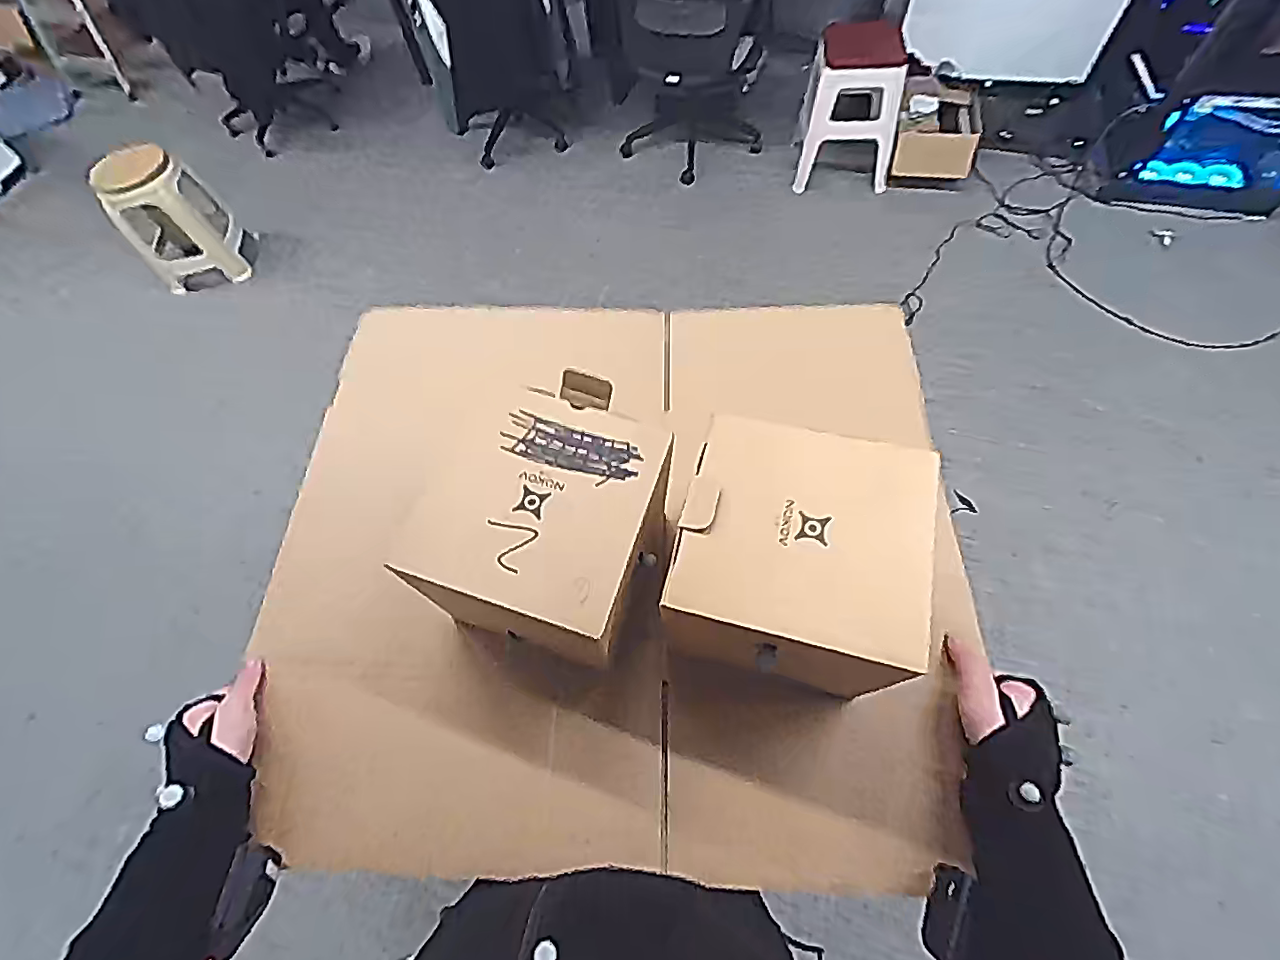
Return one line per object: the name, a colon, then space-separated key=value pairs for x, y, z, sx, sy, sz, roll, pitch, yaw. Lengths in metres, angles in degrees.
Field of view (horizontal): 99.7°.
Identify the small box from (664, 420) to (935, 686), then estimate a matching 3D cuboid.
small box: x=0.128 y=0.073 z=0.470 sx=0.179 sy=0.176 sz=0.168 roll=11 pitch=66 yaw=12
